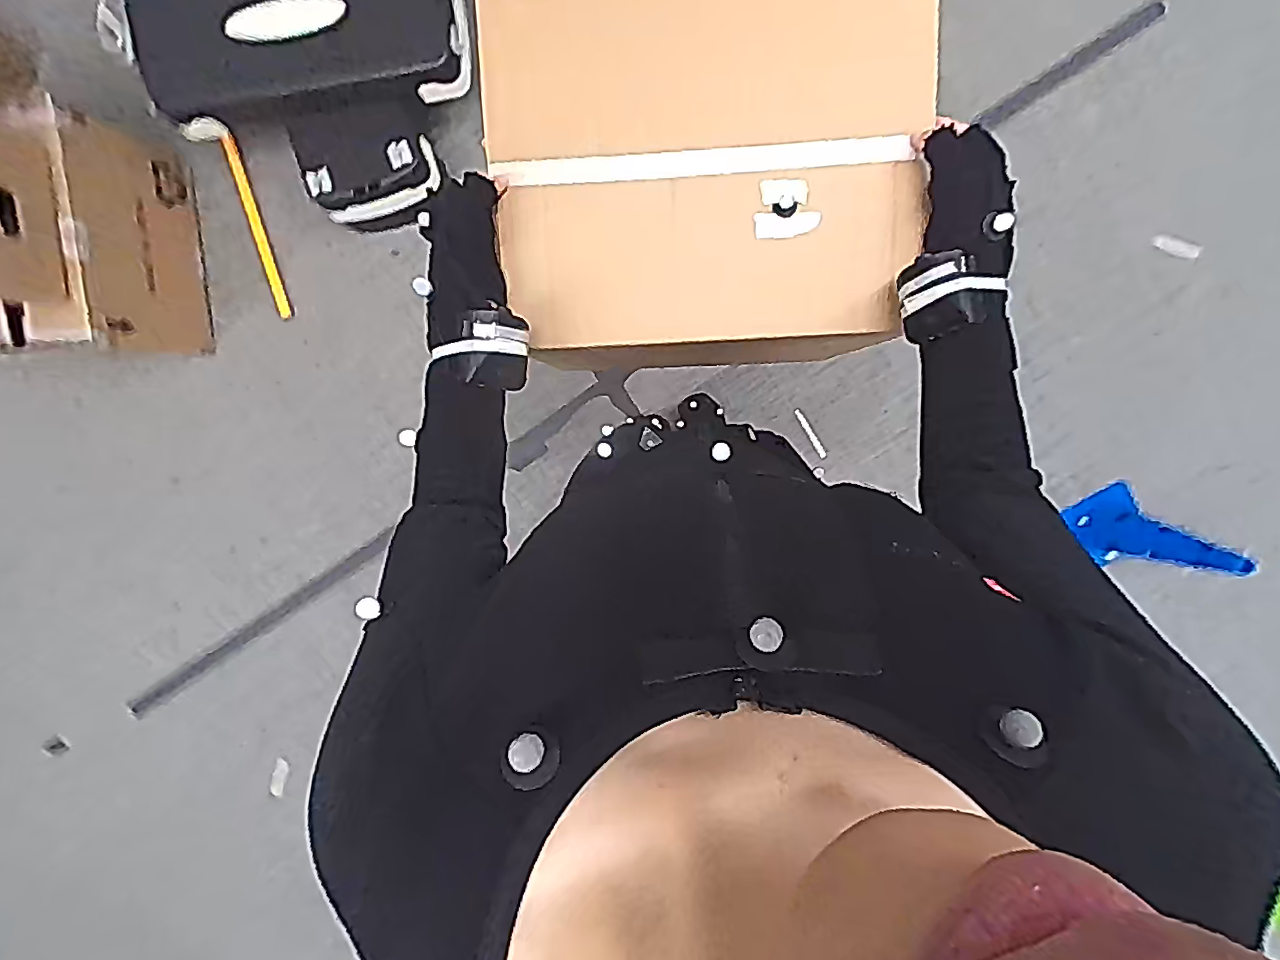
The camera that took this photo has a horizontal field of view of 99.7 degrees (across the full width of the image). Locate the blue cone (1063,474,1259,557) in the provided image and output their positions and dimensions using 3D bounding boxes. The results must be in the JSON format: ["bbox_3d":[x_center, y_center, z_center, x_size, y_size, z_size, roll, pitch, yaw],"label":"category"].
[{"bbox_3d":[1.262,0.123,1.309,0.192,0.380,0.193,-30,97,4],"label":"blue cone"}]

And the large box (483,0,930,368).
[{"bbox_3d":[0.063,-0.311,0.643,0.408,0.320,0.320,-1,98,1],"label":"large box"}]
